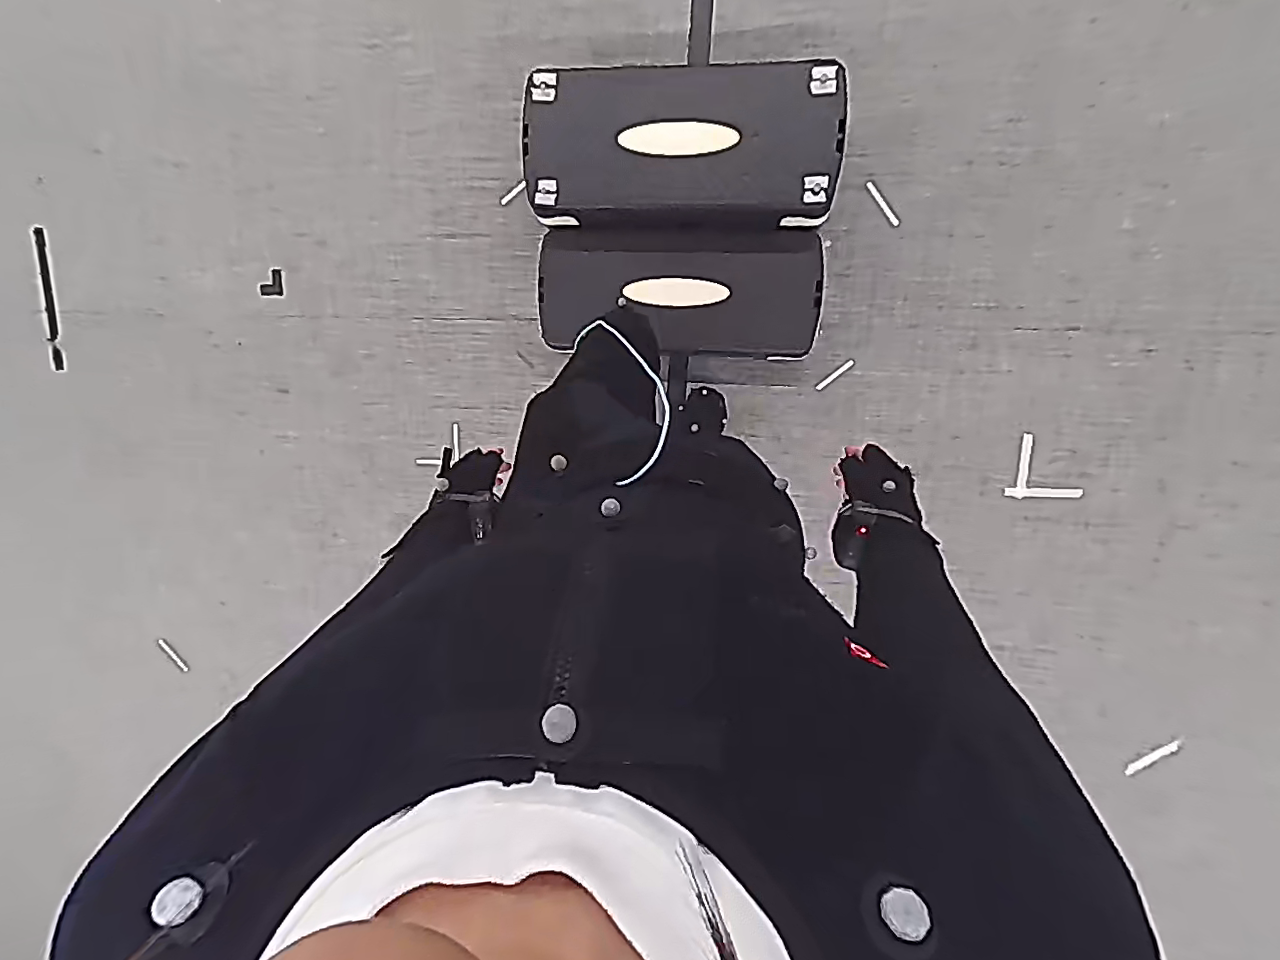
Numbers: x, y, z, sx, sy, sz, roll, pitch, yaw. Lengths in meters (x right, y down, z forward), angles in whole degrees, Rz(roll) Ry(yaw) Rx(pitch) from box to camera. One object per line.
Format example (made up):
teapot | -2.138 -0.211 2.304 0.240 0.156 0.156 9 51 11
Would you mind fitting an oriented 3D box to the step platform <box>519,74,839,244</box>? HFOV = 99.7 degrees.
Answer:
step platform | 0.078 -0.696 1.200 0.684 0.204 0.286 2 103 6
